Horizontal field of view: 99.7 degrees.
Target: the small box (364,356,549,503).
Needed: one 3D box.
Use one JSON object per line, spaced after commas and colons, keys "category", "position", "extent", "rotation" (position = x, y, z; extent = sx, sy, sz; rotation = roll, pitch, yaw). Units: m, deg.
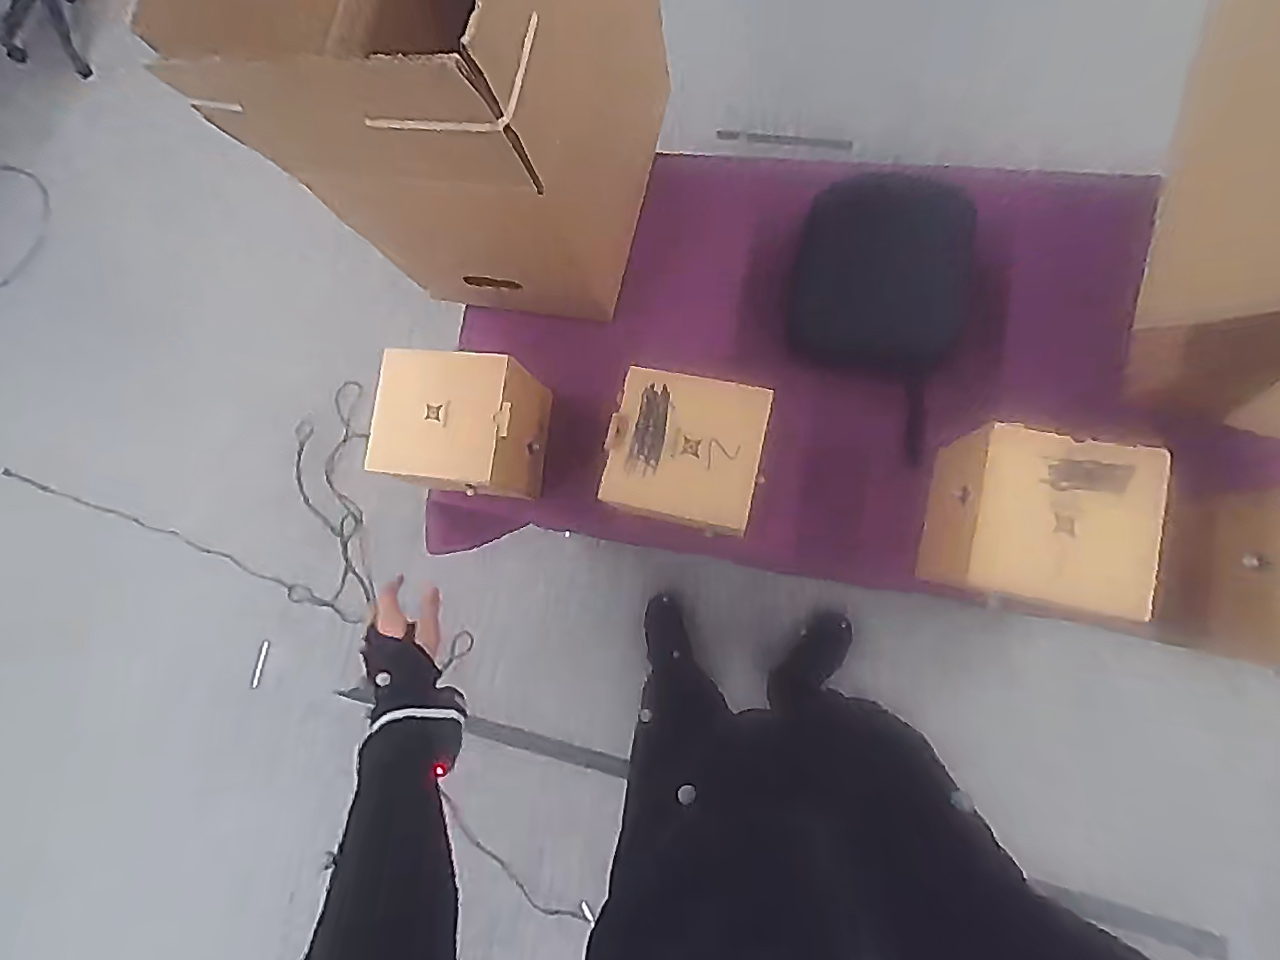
{"category": "small box", "position": [-0.245, -0.063, 0.758], "extent": [0.179, 0.176, 0.168], "rotation": [5, 82, 9]}
